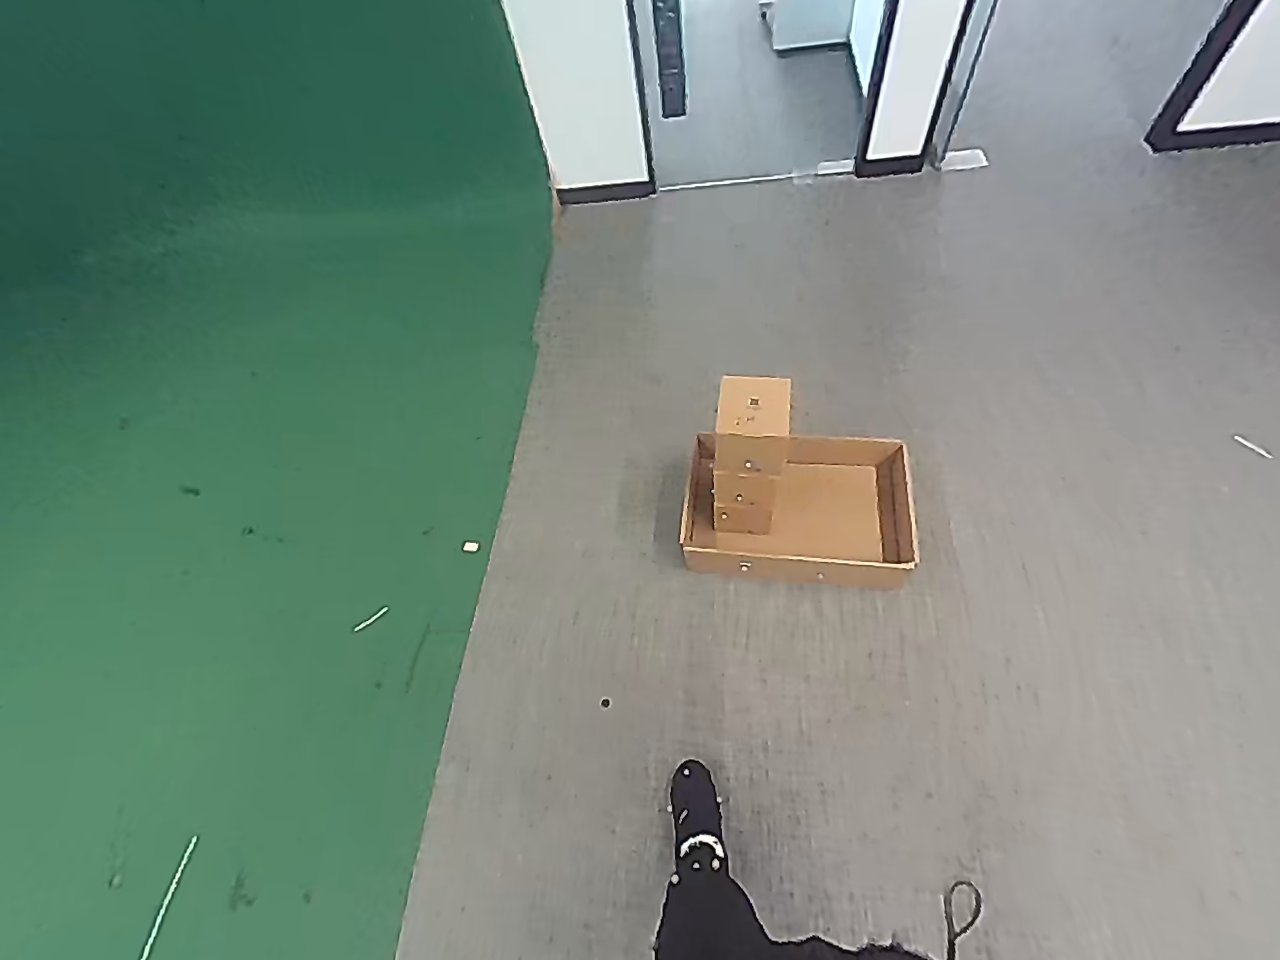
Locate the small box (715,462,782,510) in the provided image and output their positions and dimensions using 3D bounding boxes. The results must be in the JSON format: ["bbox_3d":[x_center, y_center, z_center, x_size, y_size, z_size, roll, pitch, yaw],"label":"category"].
[{"bbox_3d":[0.293,-0.039,1.459,0.168,0.176,0.179,4,60,11],"label":"small box"}]

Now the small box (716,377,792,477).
[{"bbox_3d":[0.275,-0.128,1.321,0.168,0.176,0.179,4,60,12],"label":"small box"}]
